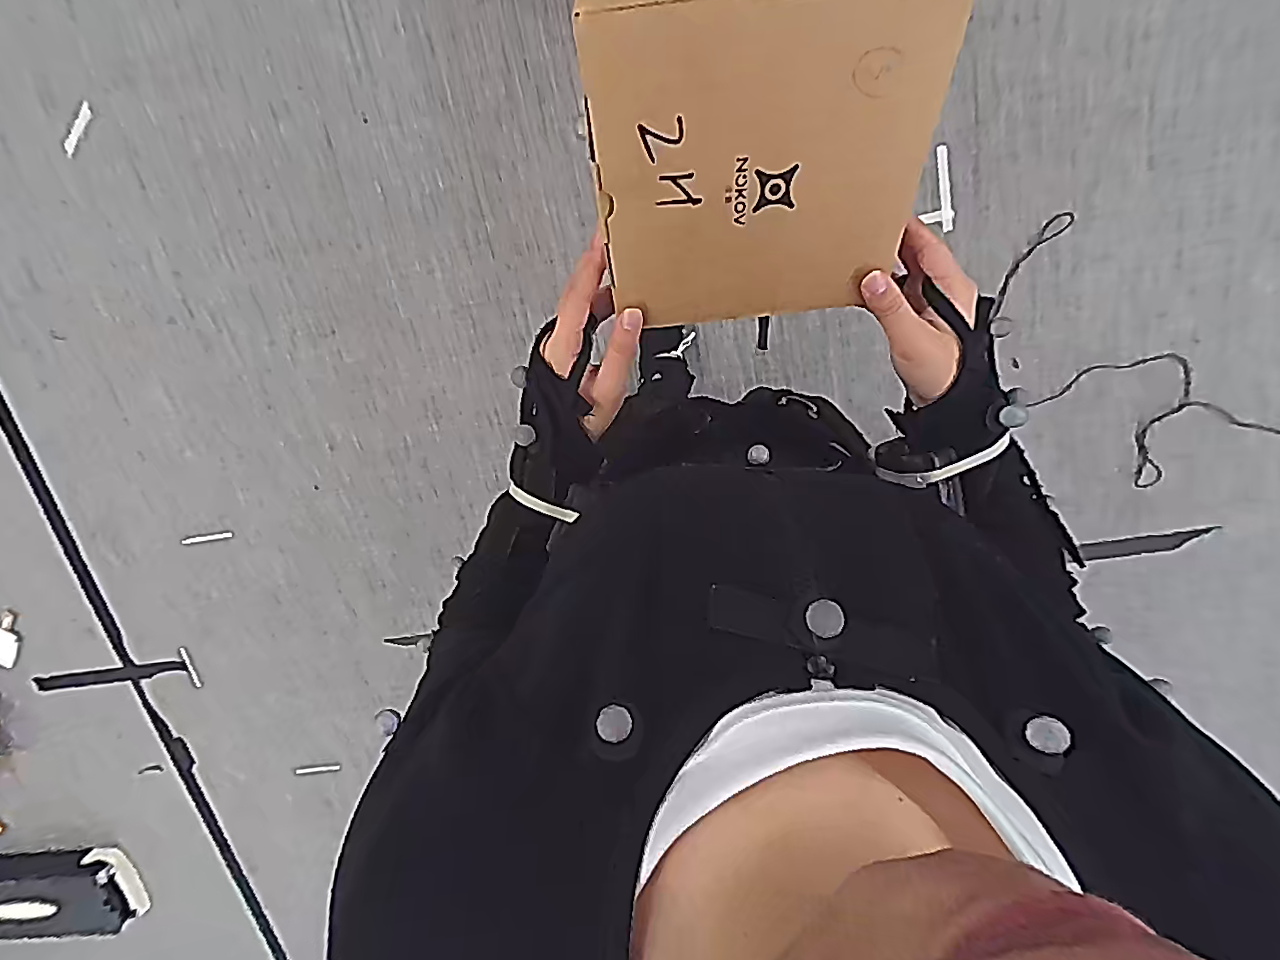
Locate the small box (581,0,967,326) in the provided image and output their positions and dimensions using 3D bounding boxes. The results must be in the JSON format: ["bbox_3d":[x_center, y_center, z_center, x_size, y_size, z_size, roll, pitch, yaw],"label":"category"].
[{"bbox_3d":[0.060,-0.225,0.346,0.179,0.176,0.168,-5,142,3],"label":"small box"}]
